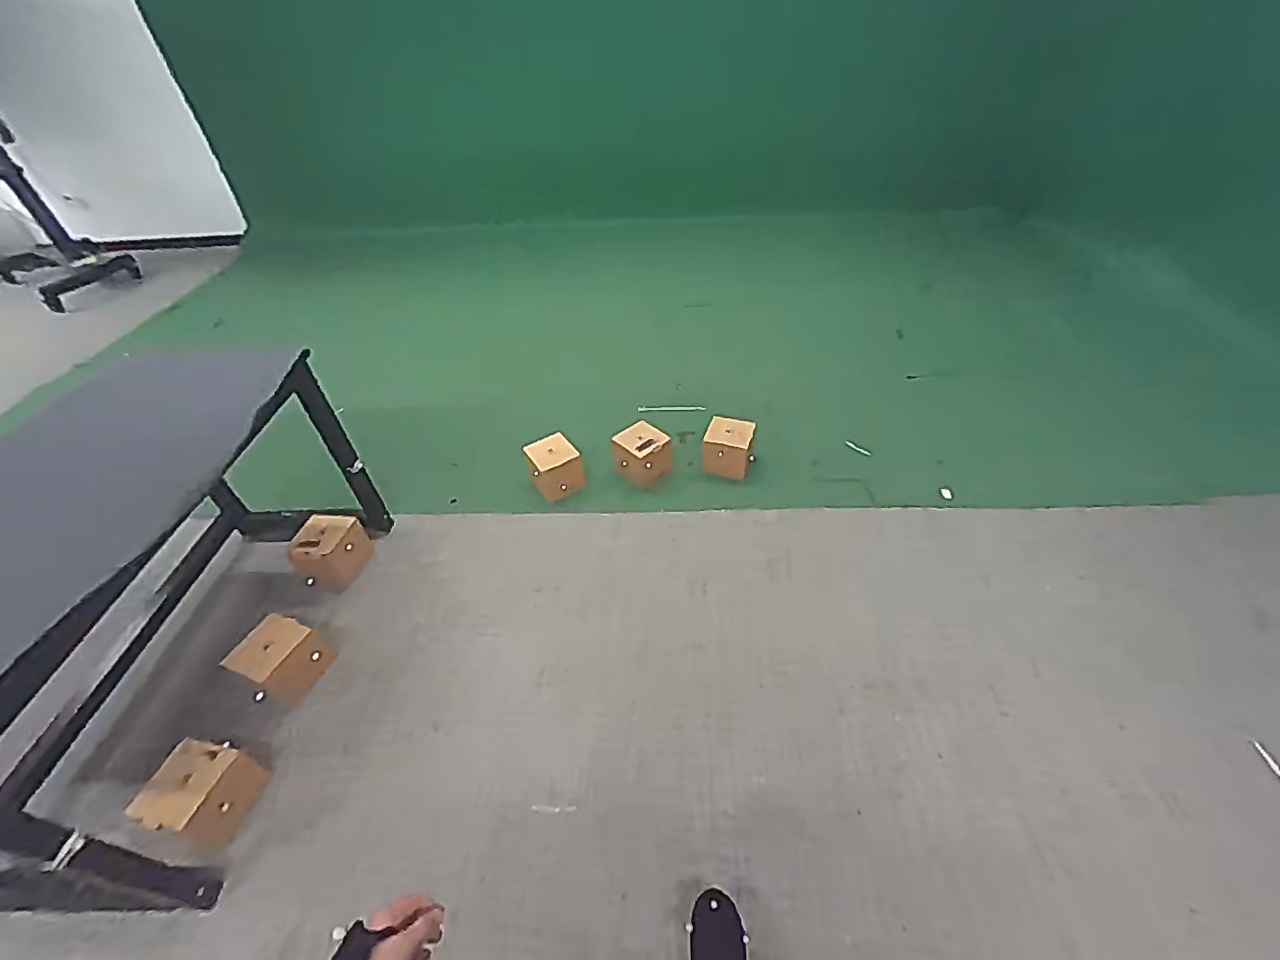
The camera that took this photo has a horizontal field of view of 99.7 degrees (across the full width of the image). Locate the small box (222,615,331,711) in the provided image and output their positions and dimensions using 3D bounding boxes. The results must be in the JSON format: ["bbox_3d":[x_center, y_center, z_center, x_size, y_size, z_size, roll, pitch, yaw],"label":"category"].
[{"bbox_3d":[-1.030,0.527,1.556,0.168,0.176,0.179,13,47,18],"label":"small box"}]

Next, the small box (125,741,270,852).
[{"bbox_3d":[-1.051,0.765,1.304,0.168,0.176,0.179,7,45,11],"label":"small box"}]

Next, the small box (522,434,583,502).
[{"bbox_3d":[-0.340,-0.045,2.116,0.168,0.176,0.179,-27,49,-23],"label":"small box"}]

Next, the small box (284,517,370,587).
[{"bbox_3d":[-1.060,0.249,1.851,0.168,0.176,0.179,3,43,6],"label":"small box"}]

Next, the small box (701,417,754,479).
[{"bbox_3d":[0.345,-0.123,2.148,0.179,0.176,0.168,13,46,16],"label":"small box"}]
